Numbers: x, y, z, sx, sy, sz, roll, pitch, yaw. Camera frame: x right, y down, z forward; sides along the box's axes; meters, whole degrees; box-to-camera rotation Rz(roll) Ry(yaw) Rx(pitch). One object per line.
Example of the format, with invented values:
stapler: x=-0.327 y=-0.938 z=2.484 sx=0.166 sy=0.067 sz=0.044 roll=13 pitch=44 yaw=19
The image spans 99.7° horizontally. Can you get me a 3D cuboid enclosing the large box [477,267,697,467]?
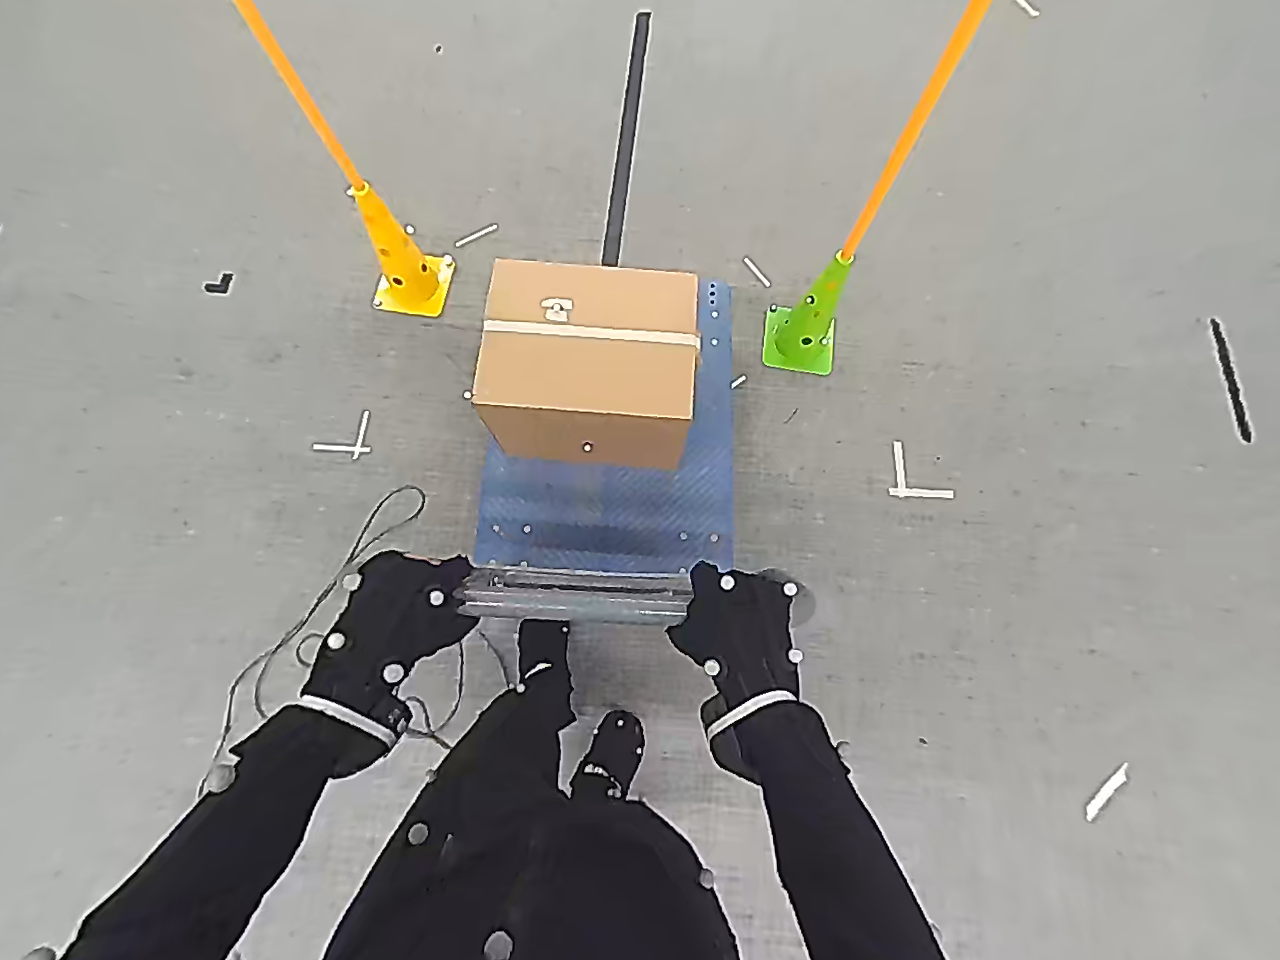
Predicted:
large box: x=-0.093 y=-0.224 z=1.173 sx=0.408 sy=0.320 sz=0.320 roll=5 pitch=74 yaw=1

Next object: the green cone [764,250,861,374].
green cone: x=0.472 y=-0.456 z=1.405 sx=0.202 sy=0.368 sz=0.200 roll=10 pitch=74 yaw=0
